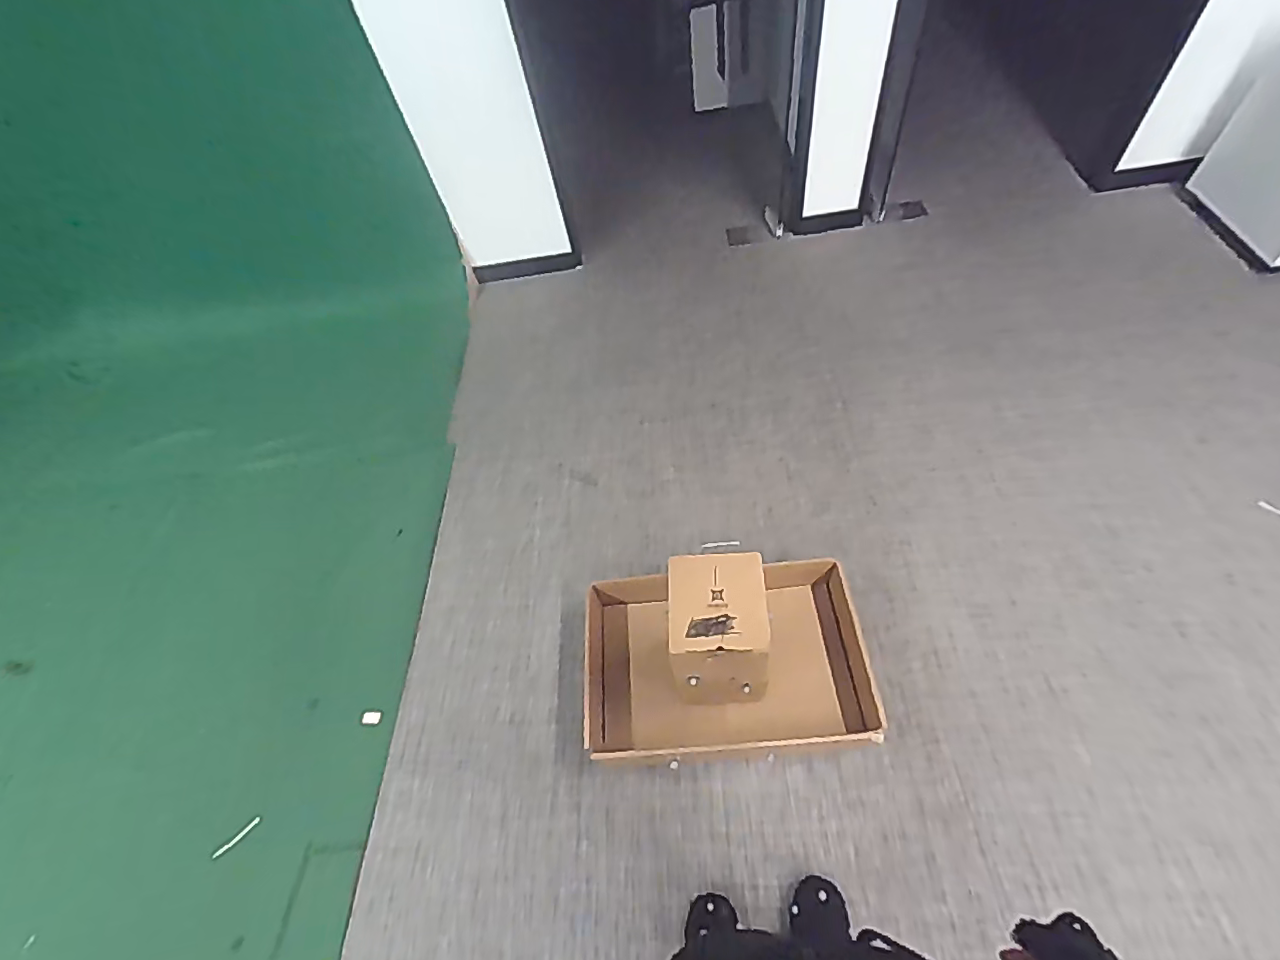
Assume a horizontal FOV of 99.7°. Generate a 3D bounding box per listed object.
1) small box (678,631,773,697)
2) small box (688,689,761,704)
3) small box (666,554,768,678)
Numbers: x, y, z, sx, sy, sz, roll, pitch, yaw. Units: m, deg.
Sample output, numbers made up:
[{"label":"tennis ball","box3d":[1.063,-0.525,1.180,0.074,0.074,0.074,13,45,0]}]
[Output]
[{"label":"small box","box3d":[0.164,0.333,1.099,0.179,0.176,0.168,-7,55,5]},{"label":"small box","box3d":[0.185,0.413,1.262,0.179,0.176,0.168,-7,54,4]},{"label":"small box","box3d":[0.139,0.251,0.978,0.168,0.176,0.179,-3,53,7]}]
